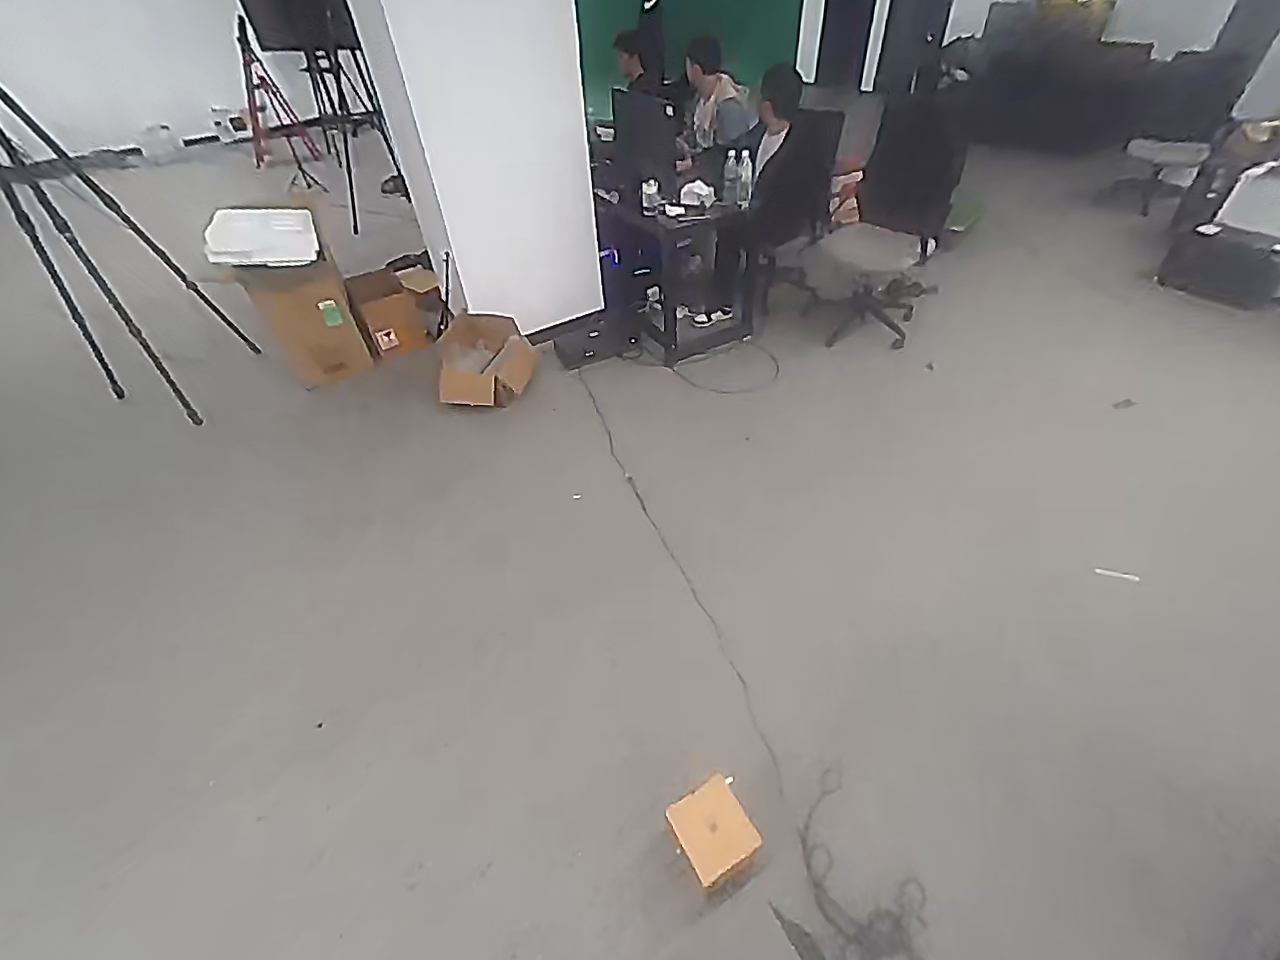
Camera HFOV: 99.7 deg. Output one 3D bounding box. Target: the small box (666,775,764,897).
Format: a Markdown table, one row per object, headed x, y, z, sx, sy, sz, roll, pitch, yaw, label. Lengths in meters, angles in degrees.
| x | y | z | sx | sy | sz | roll | pitch | yaw | label |
| --- | --- | --- | --- | --- | --- | --- | --- | --- | --- |
| 0.177 | 0.869 | 1.319 | 0.168 | 0.176 | 0.179 | -24 | 47 | -18 | small box |
